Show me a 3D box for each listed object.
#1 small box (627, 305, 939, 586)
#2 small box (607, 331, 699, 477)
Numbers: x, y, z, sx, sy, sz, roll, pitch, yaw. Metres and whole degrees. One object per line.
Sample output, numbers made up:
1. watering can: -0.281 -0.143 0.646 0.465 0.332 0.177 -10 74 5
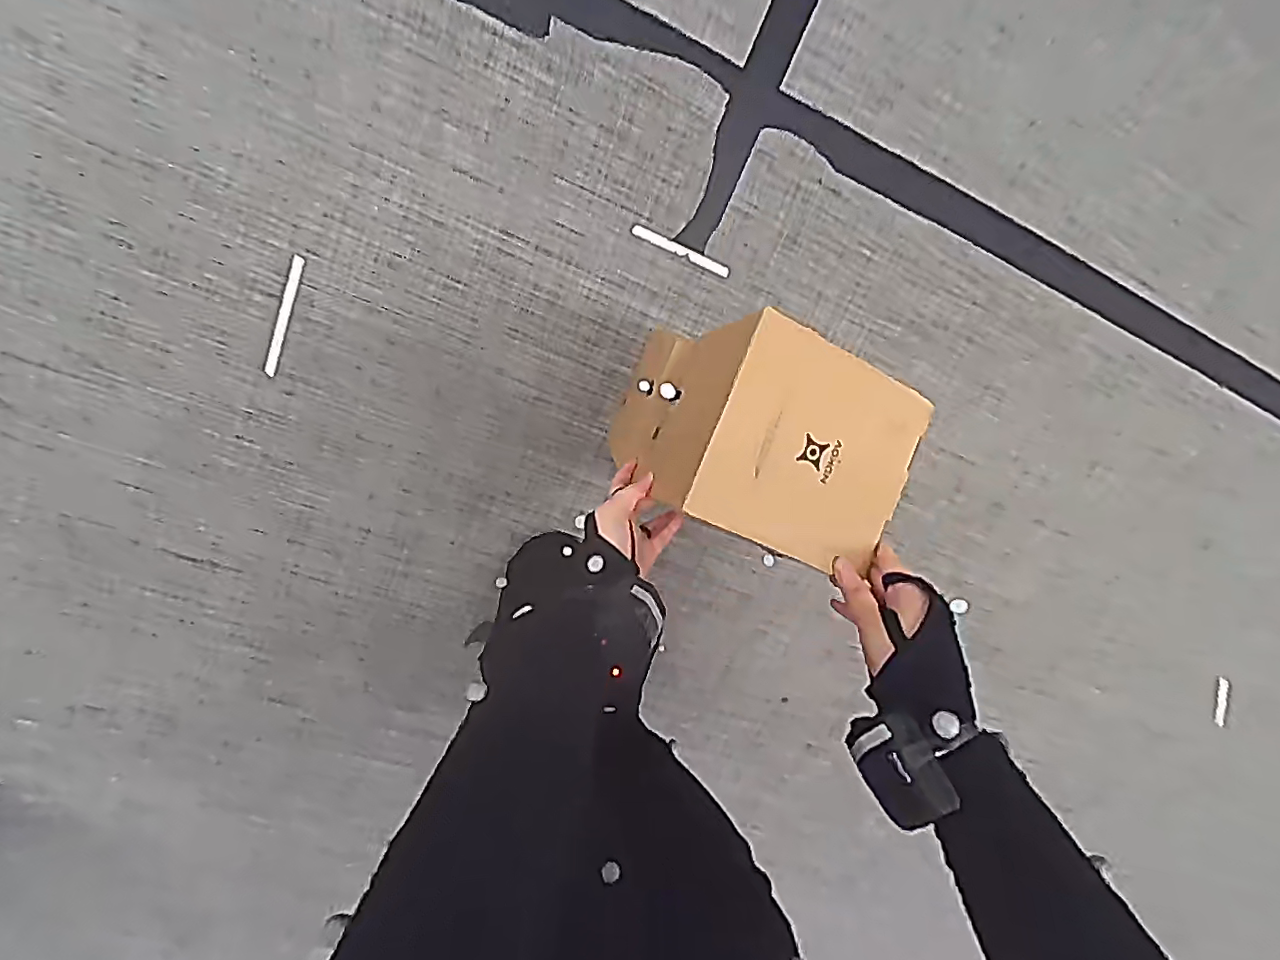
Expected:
1. small box: 0.112 -0.029 0.484 0.179 0.176 0.168 24 89 -17
2. small box: 0.073 -0.075 0.666 0.179 0.176 0.168 20 104 -15
